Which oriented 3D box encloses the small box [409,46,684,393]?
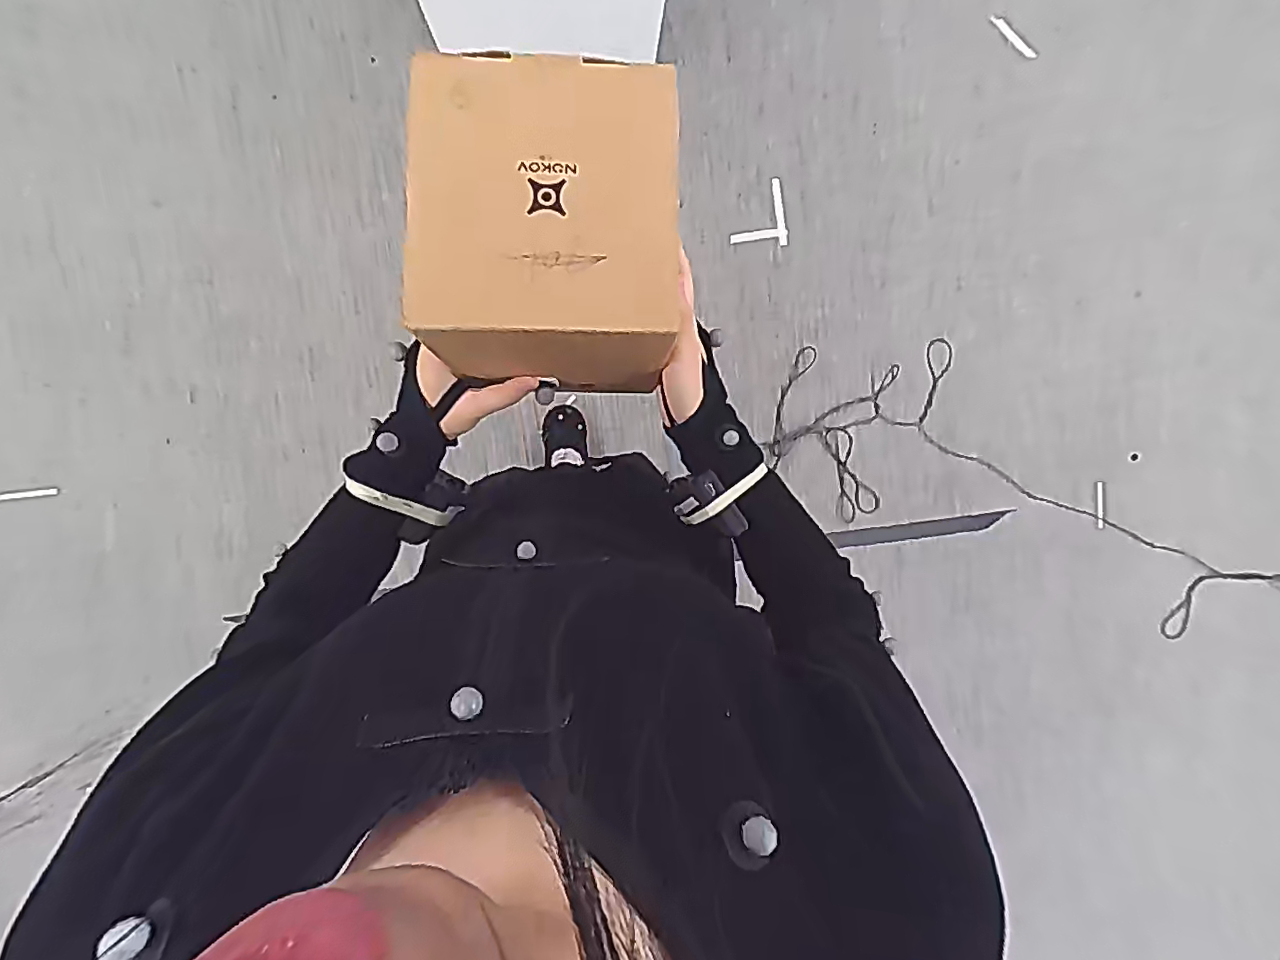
[{"bbox_3d":[-0.061,-0.172,0.408,0.168,0.176,0.179,-1,87,-4],"label":"small box"}]
